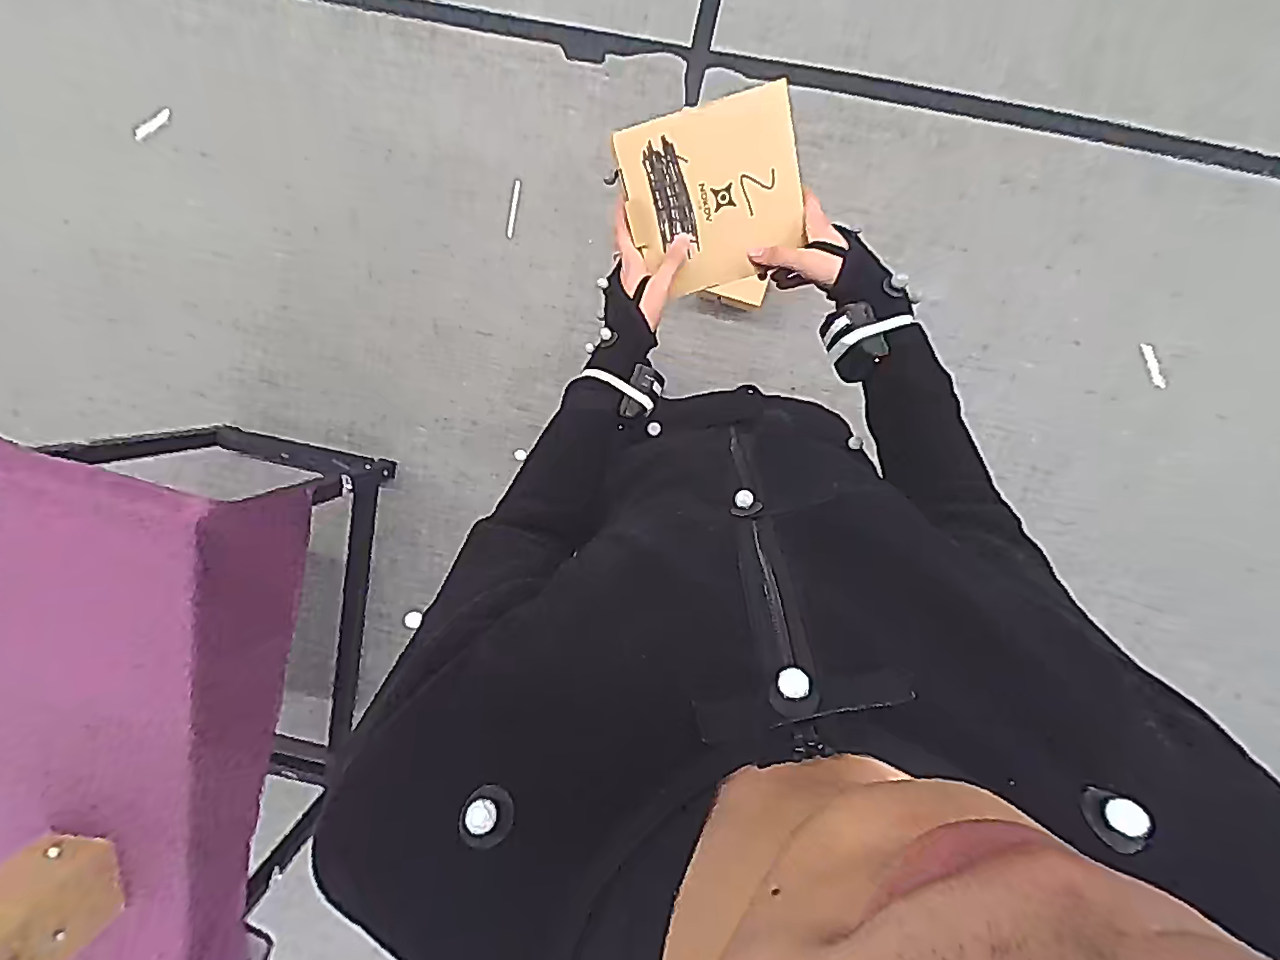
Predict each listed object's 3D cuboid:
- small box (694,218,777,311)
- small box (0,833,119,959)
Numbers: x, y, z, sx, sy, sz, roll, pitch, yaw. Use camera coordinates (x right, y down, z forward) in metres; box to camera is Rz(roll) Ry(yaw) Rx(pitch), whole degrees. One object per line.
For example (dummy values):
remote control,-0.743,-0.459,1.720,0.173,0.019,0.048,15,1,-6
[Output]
small box,0.246,-0.560,1.433,0.168,0.176,0.179,17,102,1
small box,-1.206,0.857,1.084,0.168,0.176,0.179,3,101,4
